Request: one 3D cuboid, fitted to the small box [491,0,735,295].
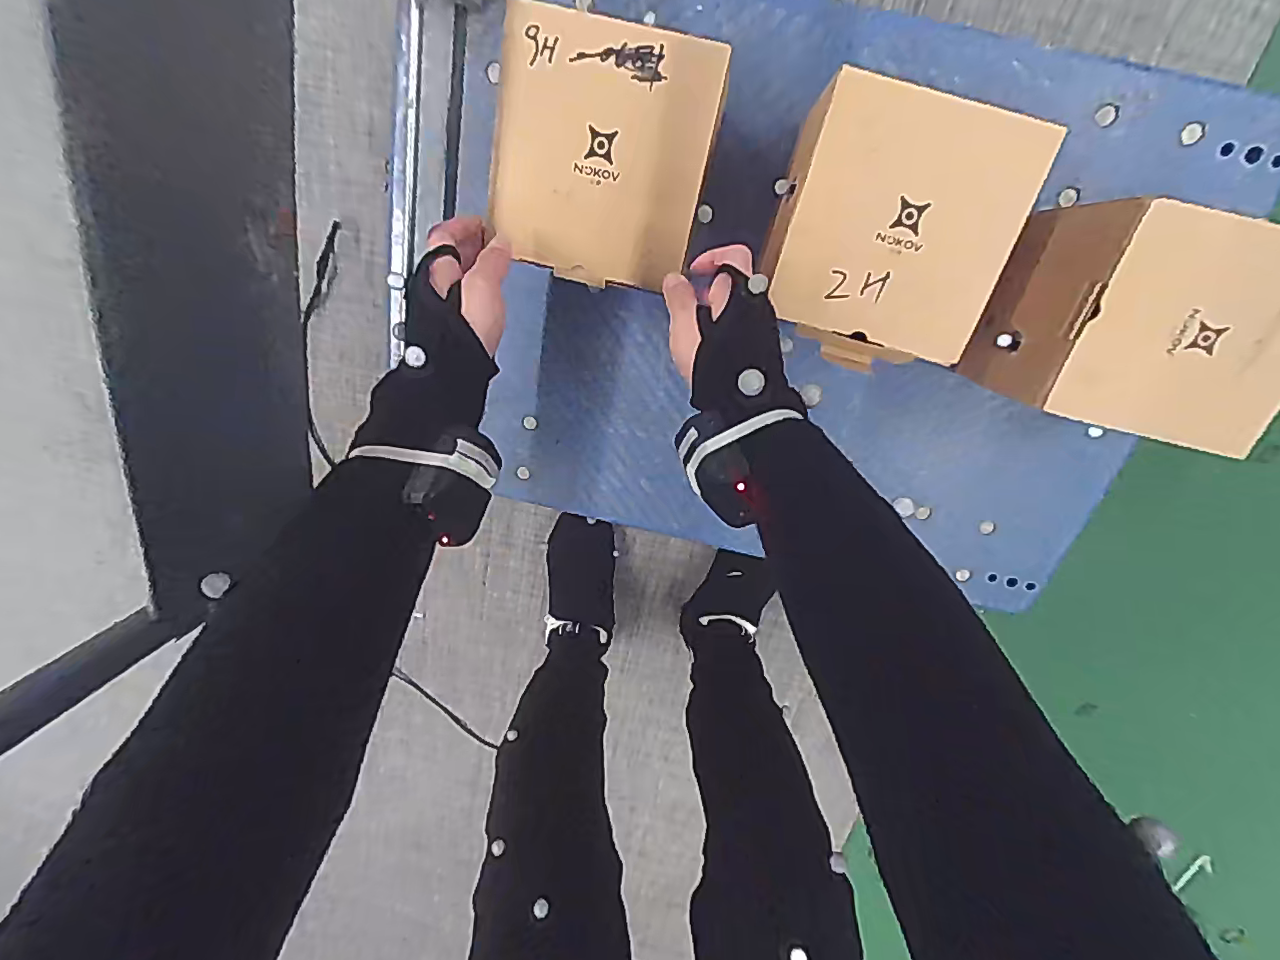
[{"bbox_3d":[-0.019,-0.282,0.492,0.168,0.176,0.179,15,113,0],"label":"small box"}]

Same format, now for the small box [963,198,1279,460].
[{"bbox_3d":[0.441,-0.140,0.495,0.179,0.176,0.168,15,113,1],"label":"small box"}]

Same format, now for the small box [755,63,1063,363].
[{"bbox_3d":[0.210,-0.225,0.489,0.168,0.176,0.179,17,113,1],"label":"small box"}]
